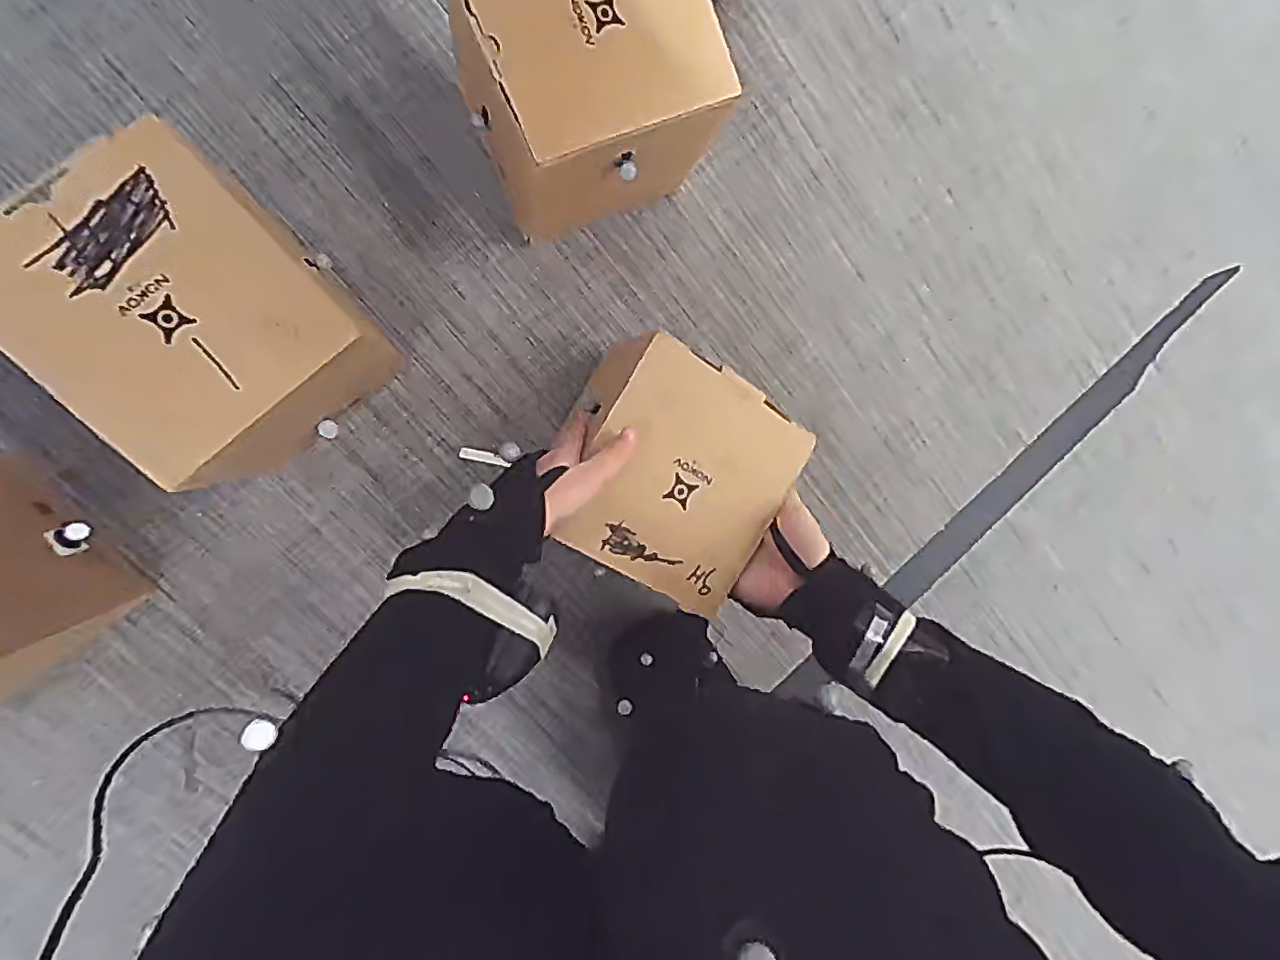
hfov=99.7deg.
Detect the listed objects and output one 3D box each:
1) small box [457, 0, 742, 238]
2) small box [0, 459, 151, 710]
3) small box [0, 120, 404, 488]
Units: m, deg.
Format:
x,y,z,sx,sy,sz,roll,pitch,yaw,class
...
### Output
x,y,z,sx,sy,sz,roll,pitch,yaw,class
-0.045,-0.338,0.464,0.179,0.176,0.168,-25,100,-9,small box
-0.536,0.100,0.394,0.179,0.176,0.168,-39,102,-8,small box
-0.319,-0.115,0.421,0.168,0.176,0.179,-42,103,-6,small box
